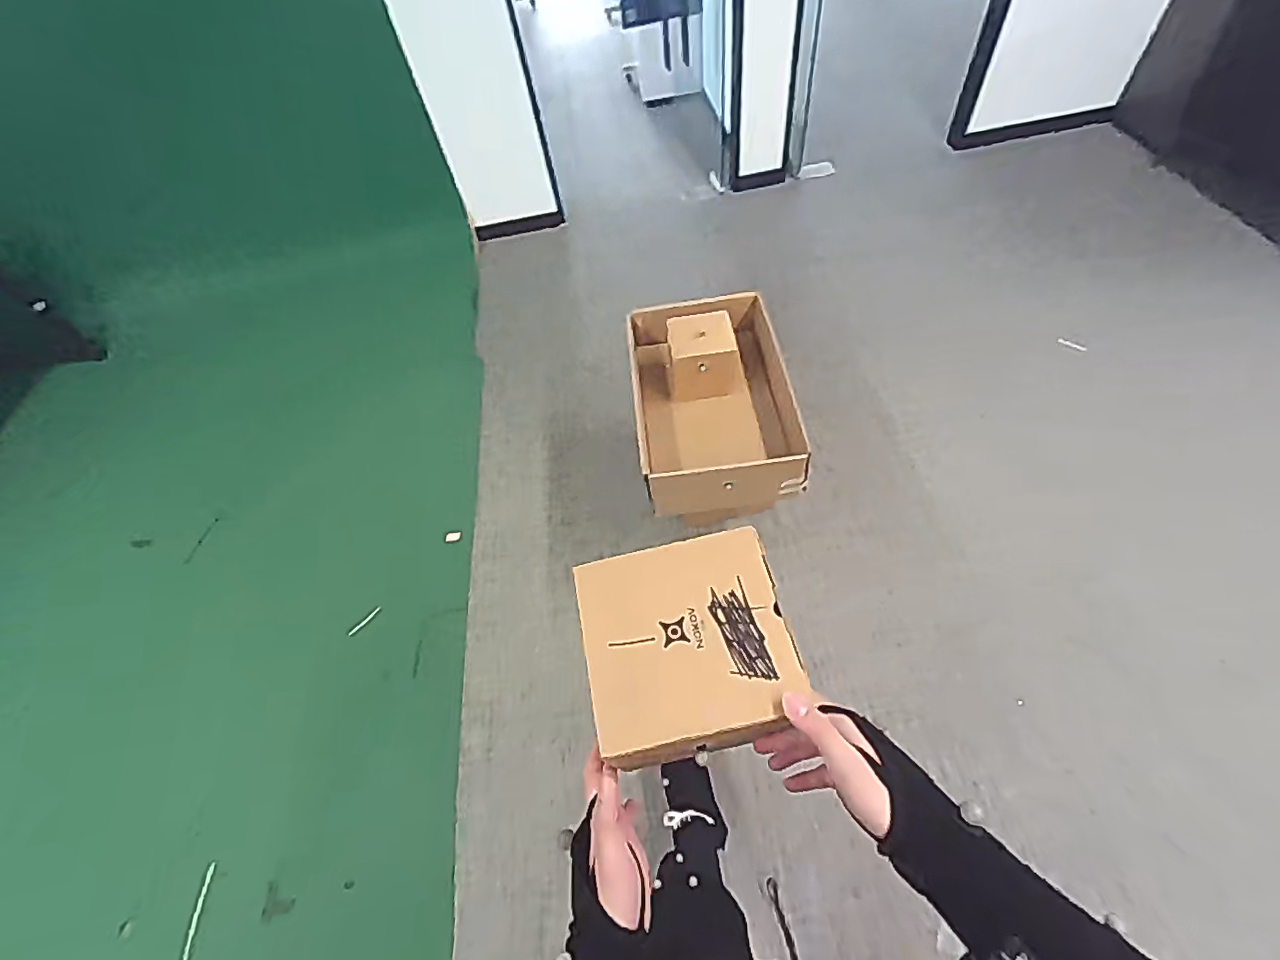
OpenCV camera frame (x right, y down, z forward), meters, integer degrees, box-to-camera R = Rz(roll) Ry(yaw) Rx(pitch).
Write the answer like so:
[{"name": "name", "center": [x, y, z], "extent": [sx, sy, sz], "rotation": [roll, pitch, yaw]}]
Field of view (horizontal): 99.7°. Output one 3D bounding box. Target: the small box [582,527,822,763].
[{"name": "small box", "center": [0.051, 0.167, 0.527], "extent": [0.179, 0.176, 0.168], "rotation": [-12, 59, 0]}]

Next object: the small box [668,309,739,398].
[{"name": "small box", "center": [0.176, -0.352, 1.523], "extent": [0.179, 0.176, 0.168], "rotation": [-8, 56, 3]}]
